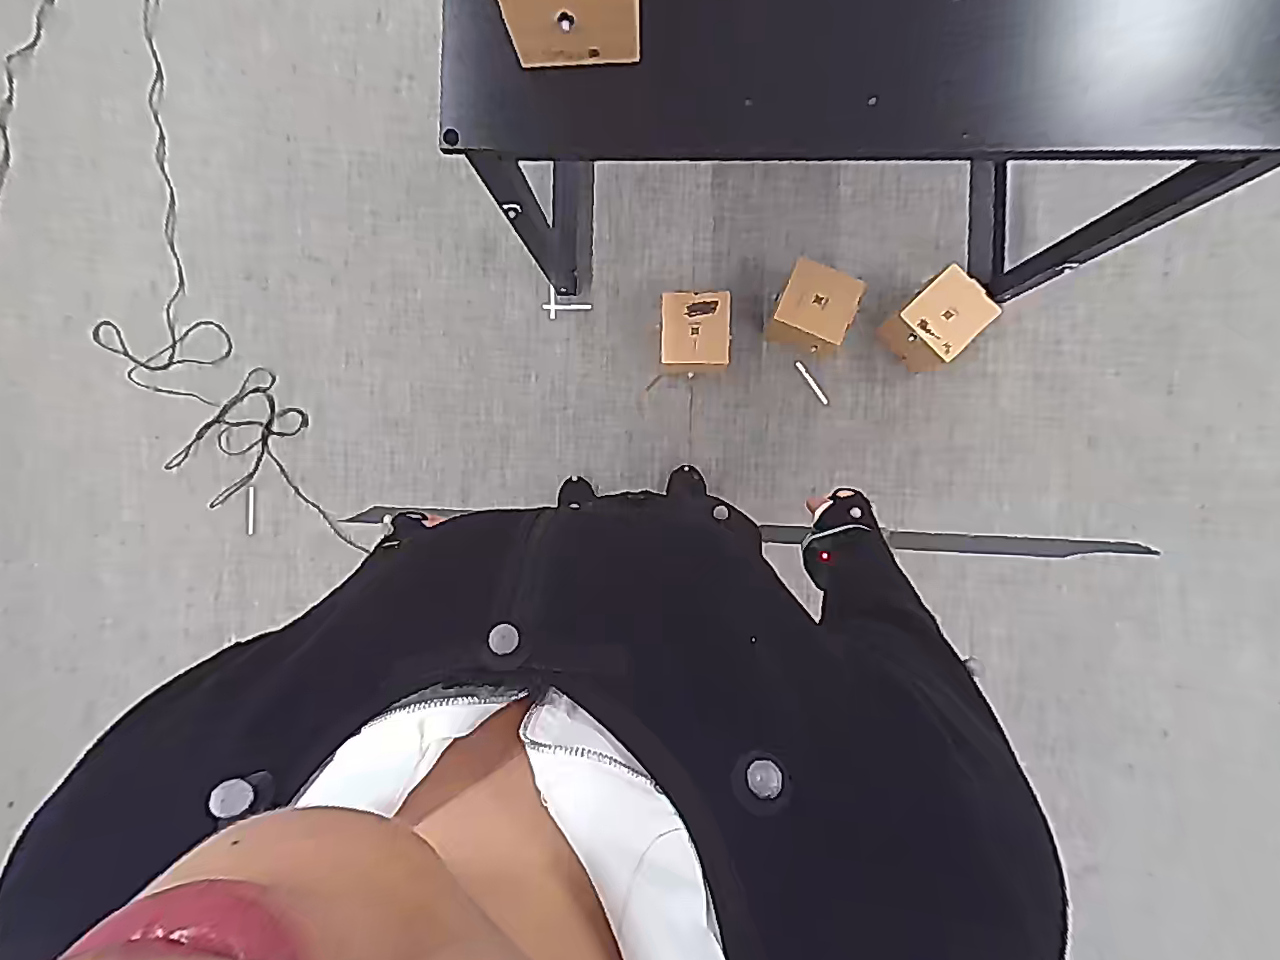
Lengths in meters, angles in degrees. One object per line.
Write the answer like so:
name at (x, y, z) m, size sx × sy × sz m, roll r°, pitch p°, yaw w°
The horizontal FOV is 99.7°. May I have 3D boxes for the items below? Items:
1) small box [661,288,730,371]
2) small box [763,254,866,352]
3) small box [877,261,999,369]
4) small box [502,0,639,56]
small box at (0.139, -0.383, 1.394) m, size 0.168 × 0.176 × 0.179 m, roll 1°, pitch 94°, yaw 4°
small box at (0.434, -0.439, 1.376) m, size 0.179 × 0.176 × 0.168 m, roll 23°, pitch 92°, yaw 3°
small box at (0.735, -0.406, 1.357) m, size 0.179 × 0.176 × 0.168 m, roll -45°, pitch 89°, yaw 4°
small box at (-0.087, -0.663, 0.665) m, size 0.168 × 0.176 × 0.179 m, roll 0°, pitch 92°, yaw 3°
